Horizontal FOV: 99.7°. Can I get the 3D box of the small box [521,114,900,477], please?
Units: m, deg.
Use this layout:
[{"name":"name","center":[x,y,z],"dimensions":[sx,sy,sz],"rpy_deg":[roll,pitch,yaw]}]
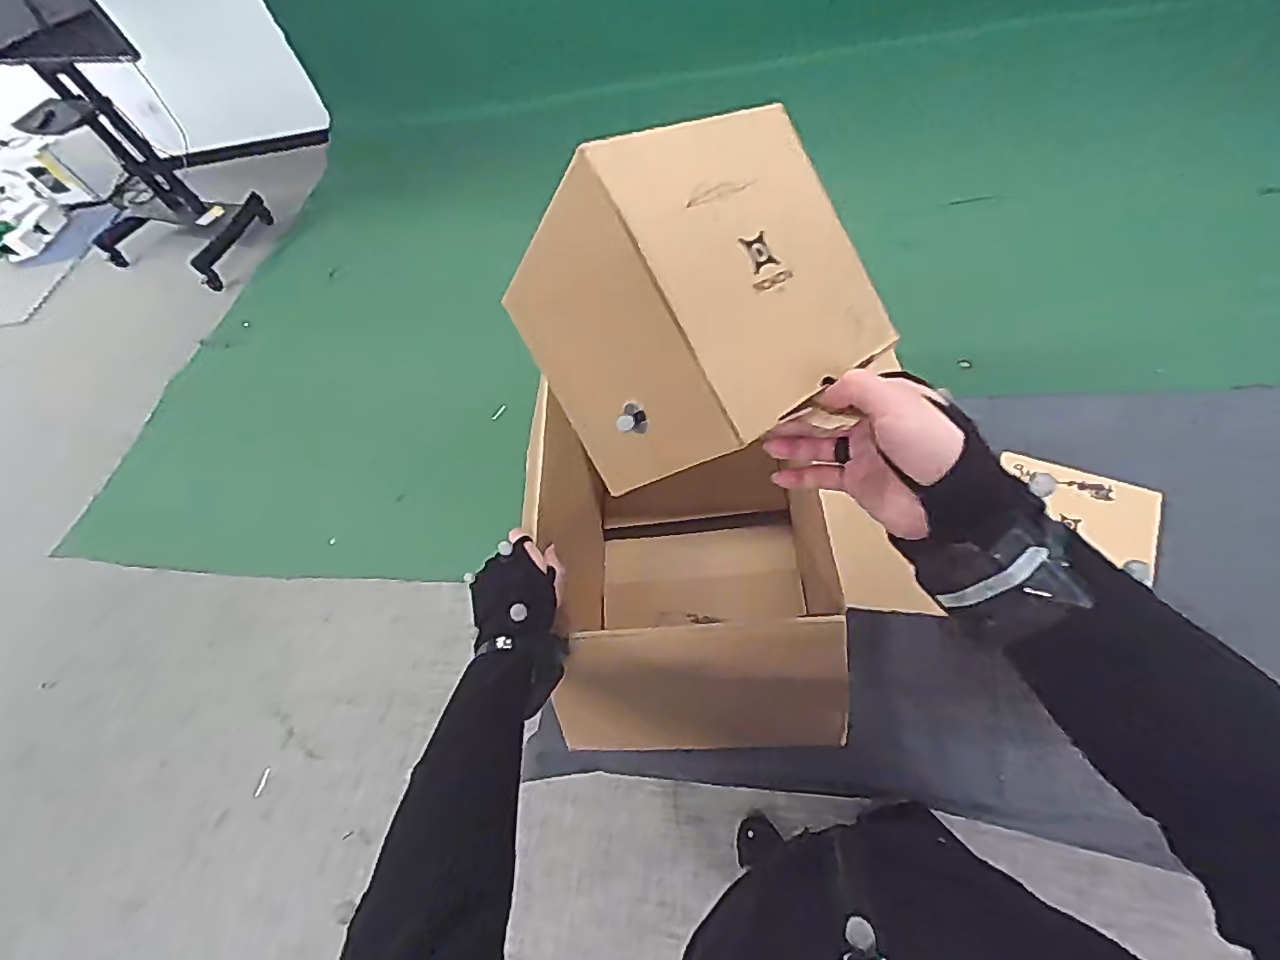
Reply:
[{"name":"small box","center":[0.040,-0.115,0.394],"dimensions":[0.168,0.176,0.179],"rpy_deg":[-32,94,-29]}]
